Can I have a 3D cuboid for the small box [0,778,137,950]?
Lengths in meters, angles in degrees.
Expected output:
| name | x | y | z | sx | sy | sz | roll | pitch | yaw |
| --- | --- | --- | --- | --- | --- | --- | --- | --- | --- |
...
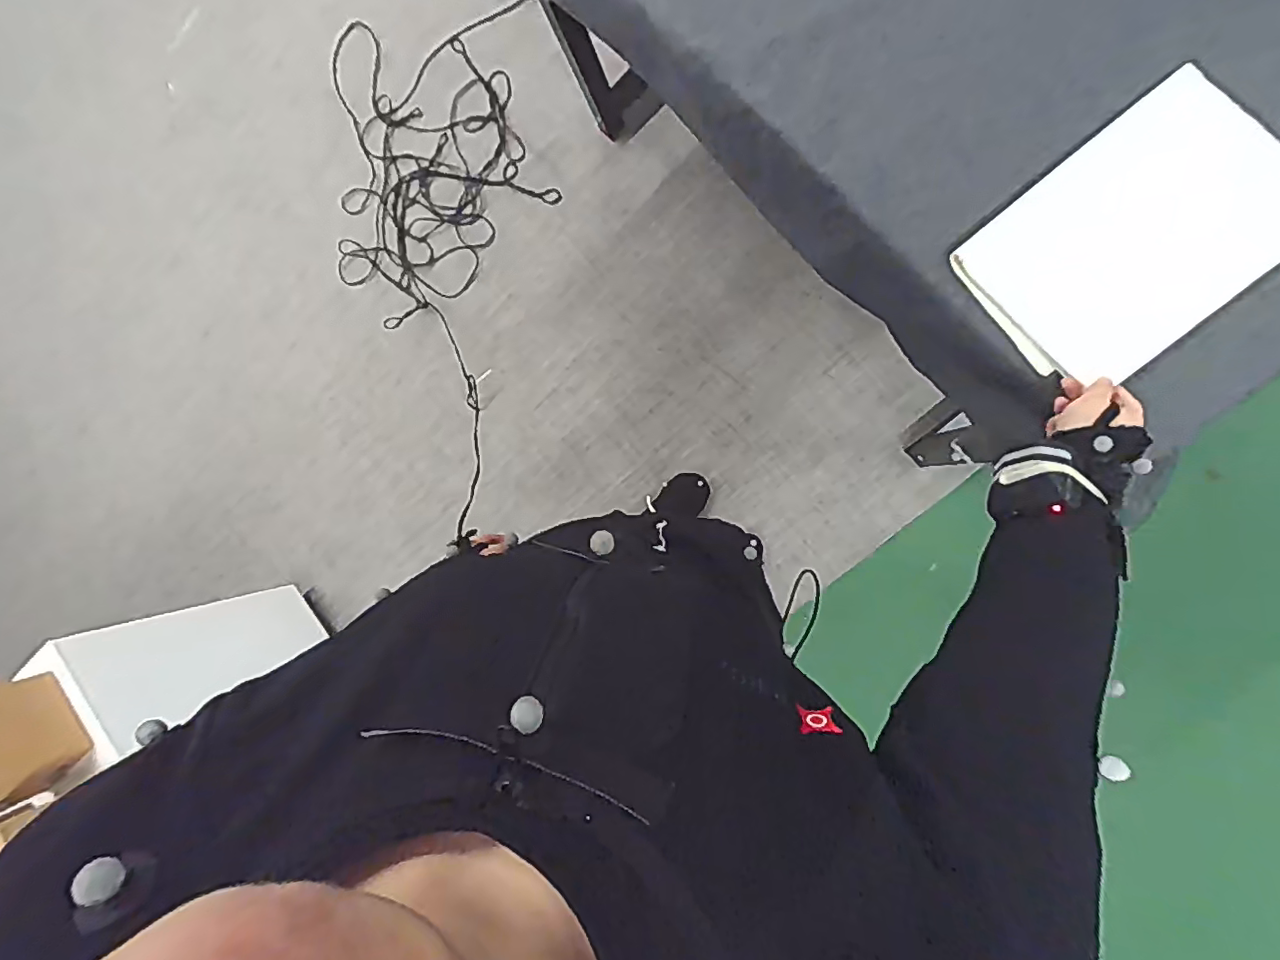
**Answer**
| name | x | y | z | sx | sy | sz | roll | pitch | yaw |
| --- | --- | --- | --- | --- | --- | --- | --- | --- | --- |
| small box | -1.009 | 0.649 | 0.912 | 0.179 | 0.176 | 0.168 | -37 | 81 | 12 |
